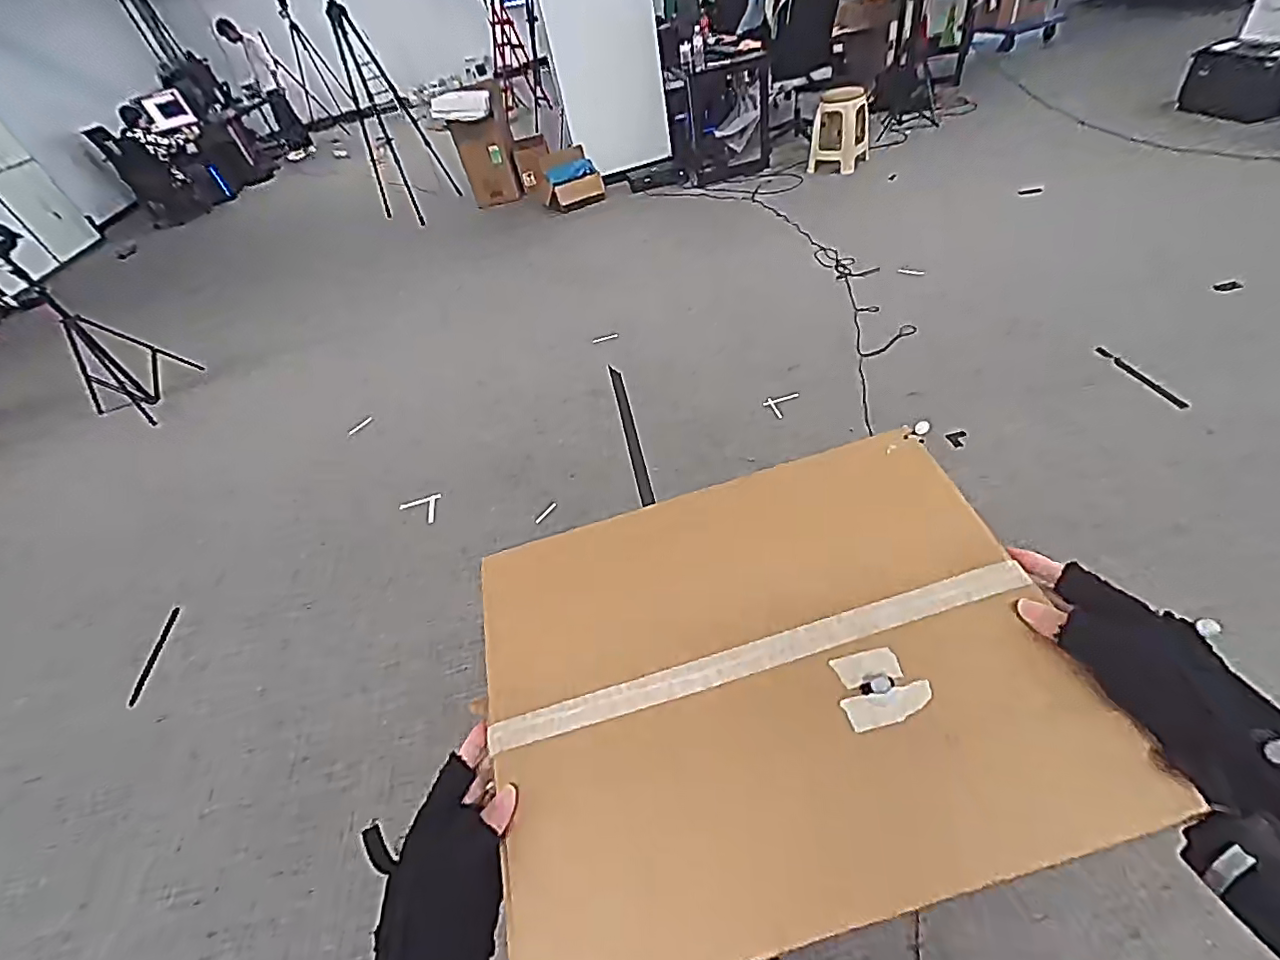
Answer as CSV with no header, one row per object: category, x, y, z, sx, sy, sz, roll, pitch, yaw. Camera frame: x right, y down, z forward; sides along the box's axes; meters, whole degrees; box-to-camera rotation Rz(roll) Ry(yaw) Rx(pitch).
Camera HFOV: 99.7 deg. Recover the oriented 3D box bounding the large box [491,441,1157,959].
large box,0.111,0.224,0.527,0.408,0.320,0.320,-17,52,-1
